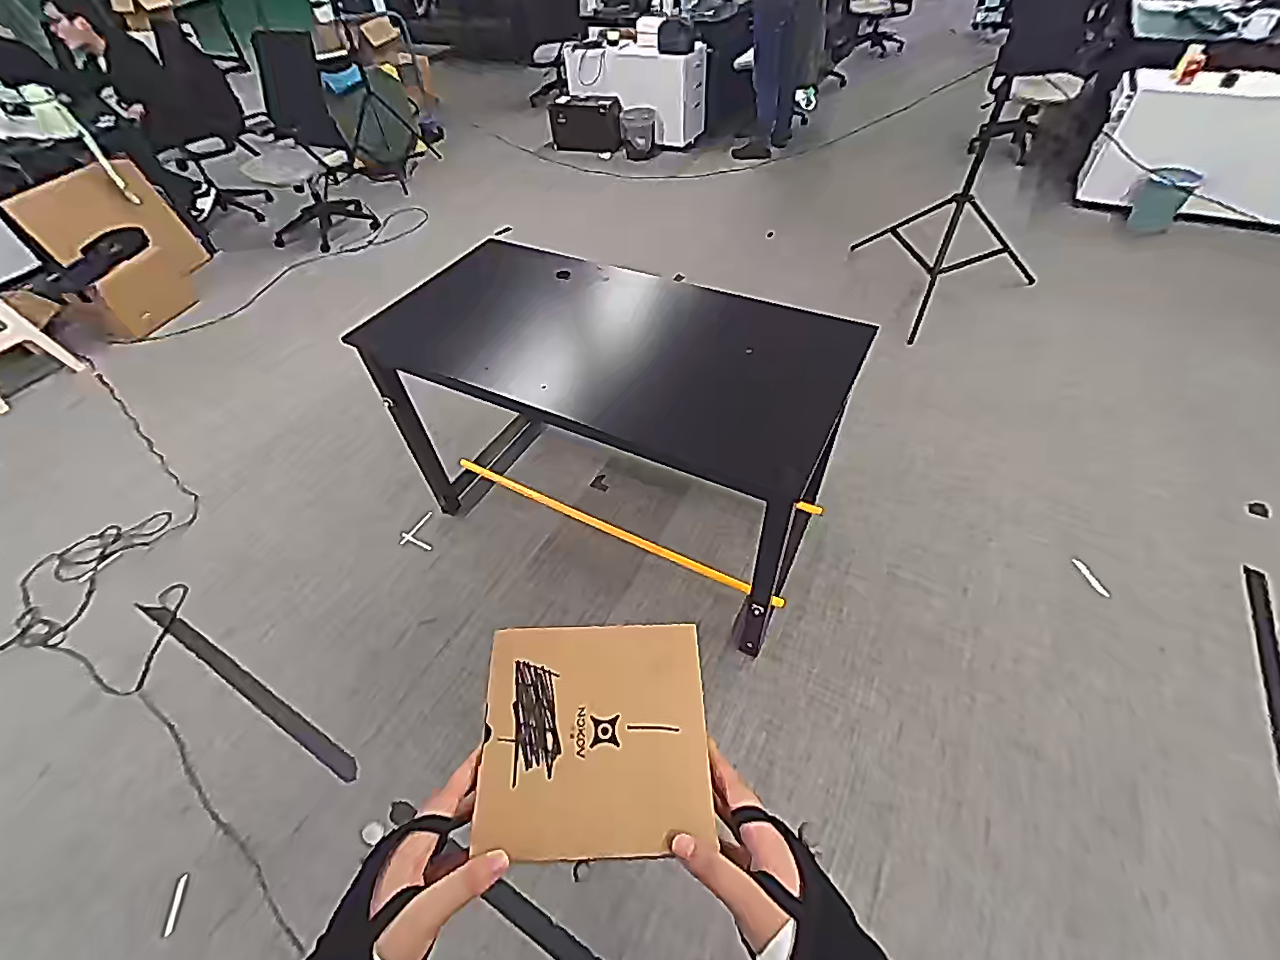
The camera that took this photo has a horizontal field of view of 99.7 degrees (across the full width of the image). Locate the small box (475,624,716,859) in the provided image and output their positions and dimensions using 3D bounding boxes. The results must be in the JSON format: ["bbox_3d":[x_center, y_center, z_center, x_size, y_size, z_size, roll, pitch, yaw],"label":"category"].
[{"bbox_3d":[-0.032,0.243,0.495,0.179,0.176,0.168,-2,55,-1],"label":"small box"}]
